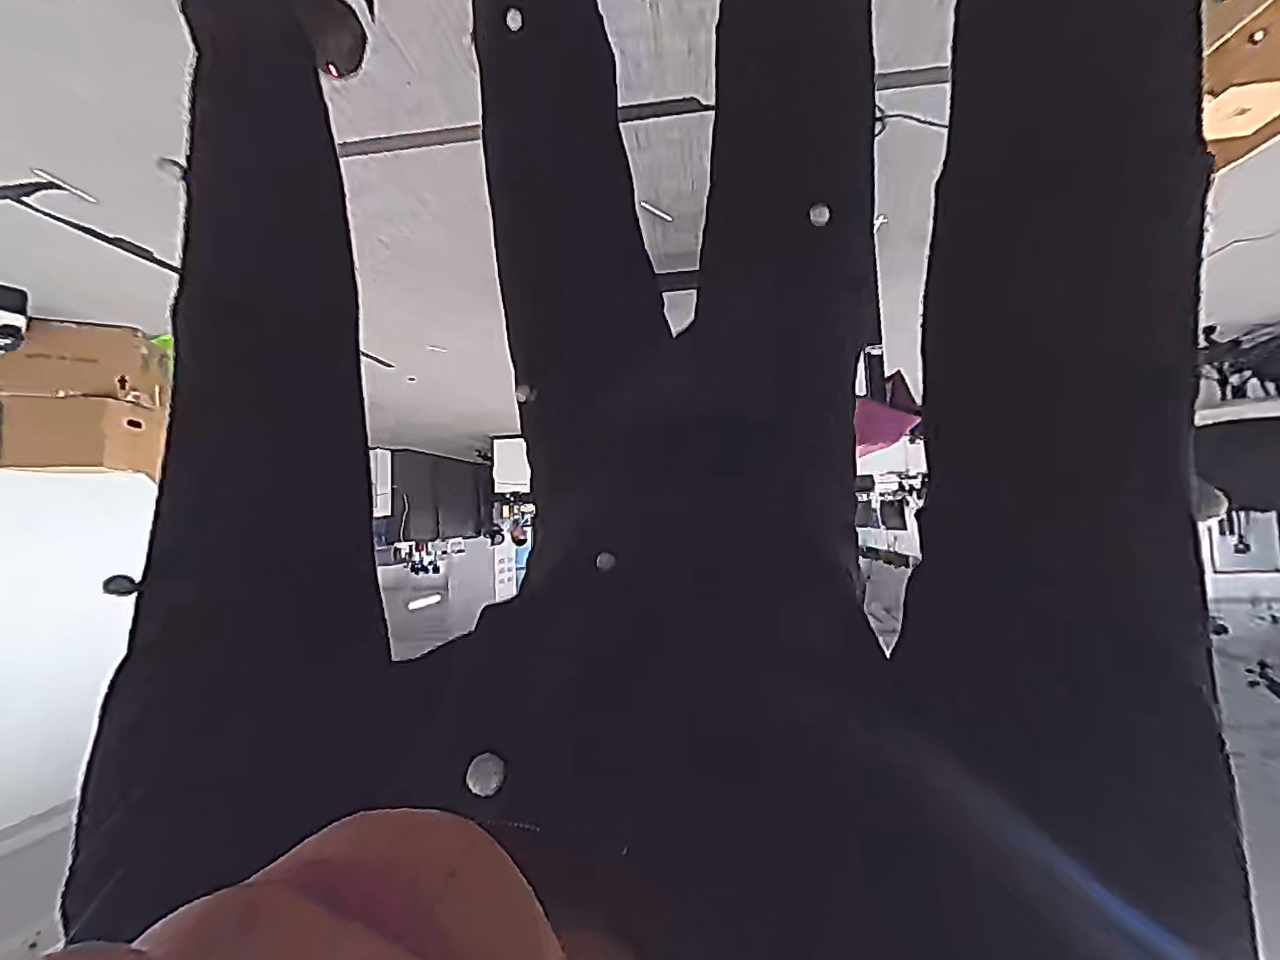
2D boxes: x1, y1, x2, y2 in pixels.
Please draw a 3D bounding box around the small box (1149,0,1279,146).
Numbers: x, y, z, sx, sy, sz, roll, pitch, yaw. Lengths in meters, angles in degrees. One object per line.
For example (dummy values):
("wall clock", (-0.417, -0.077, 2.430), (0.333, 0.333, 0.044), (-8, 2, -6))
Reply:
("small box", (1.133, -0.781, 1.035), (0.179, 0.176, 0.168), (-3, 177, 6))
